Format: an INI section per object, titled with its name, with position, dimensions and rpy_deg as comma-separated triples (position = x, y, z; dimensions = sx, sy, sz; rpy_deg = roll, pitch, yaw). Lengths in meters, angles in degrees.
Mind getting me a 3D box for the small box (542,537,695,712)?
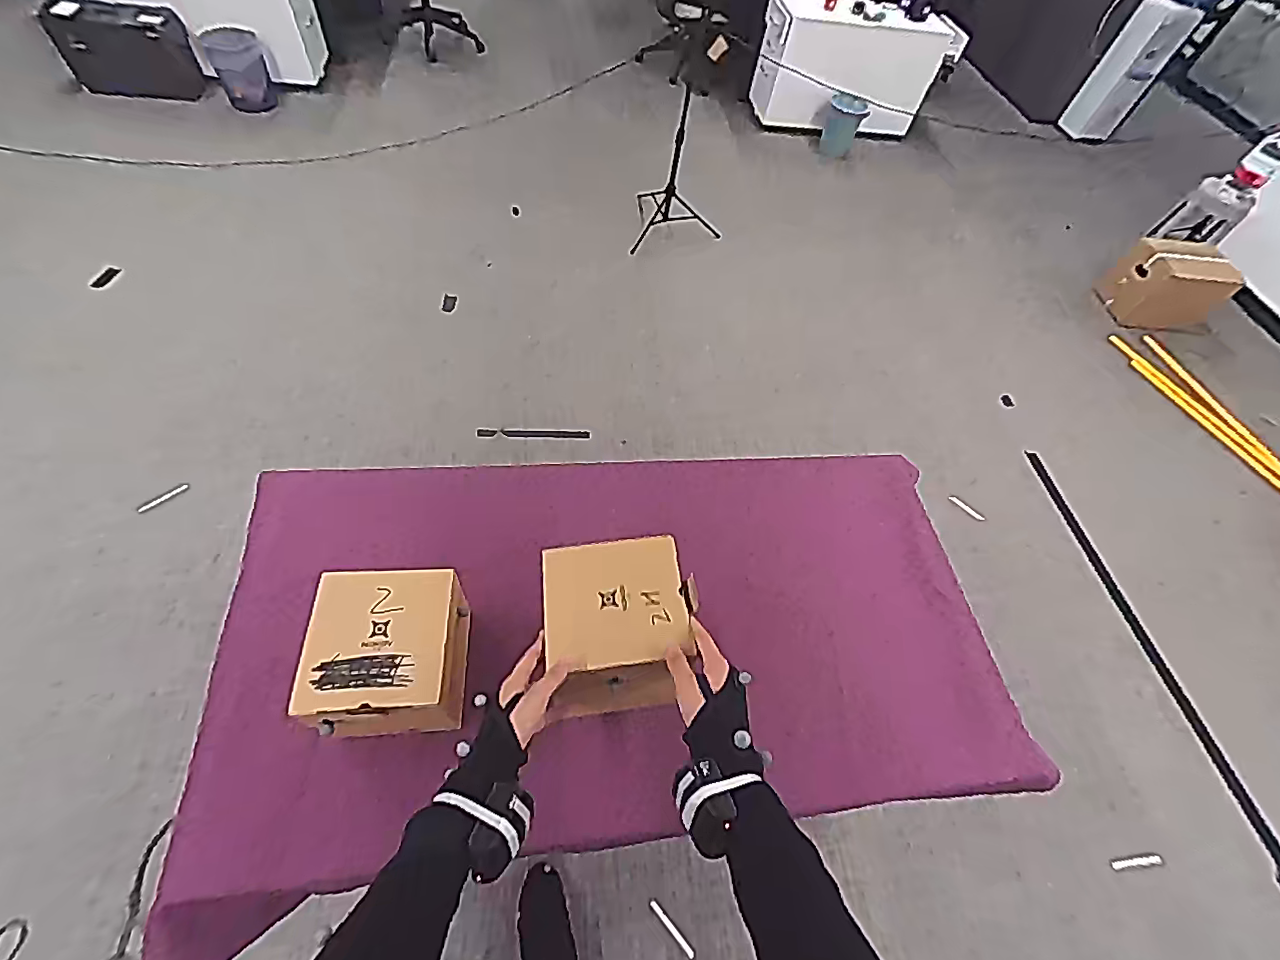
[small box]
position = -0.032, 0.196, 0.720
dimensions = 0.179, 0.176, 0.168
rpy_deg = -5, 52, -6
